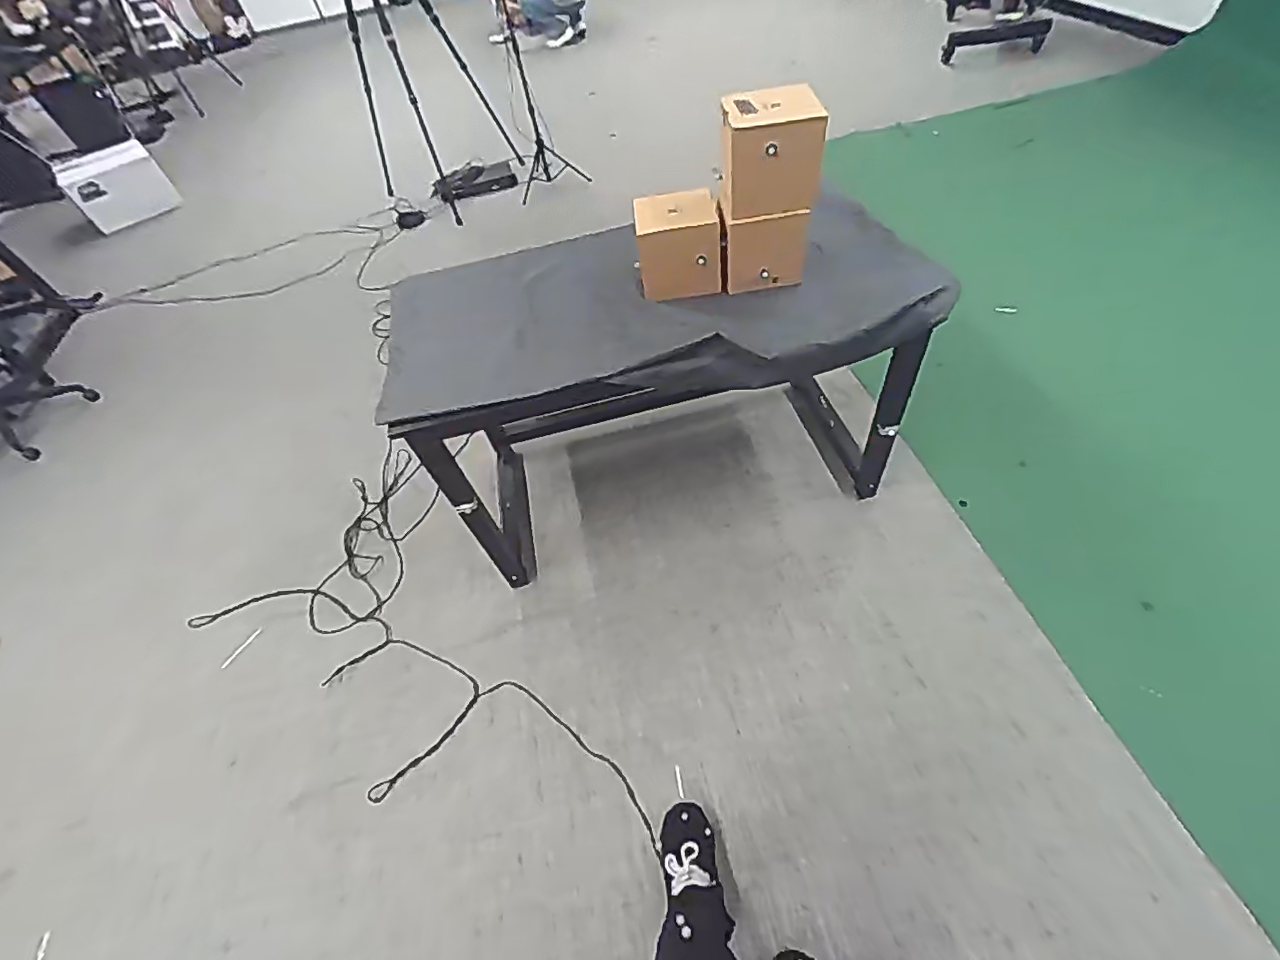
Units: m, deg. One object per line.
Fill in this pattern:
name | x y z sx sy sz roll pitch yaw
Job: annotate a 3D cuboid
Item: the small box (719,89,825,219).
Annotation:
small box | 0.257 -0.648 1.085 0.179 0.176 0.168 -6 53 5
